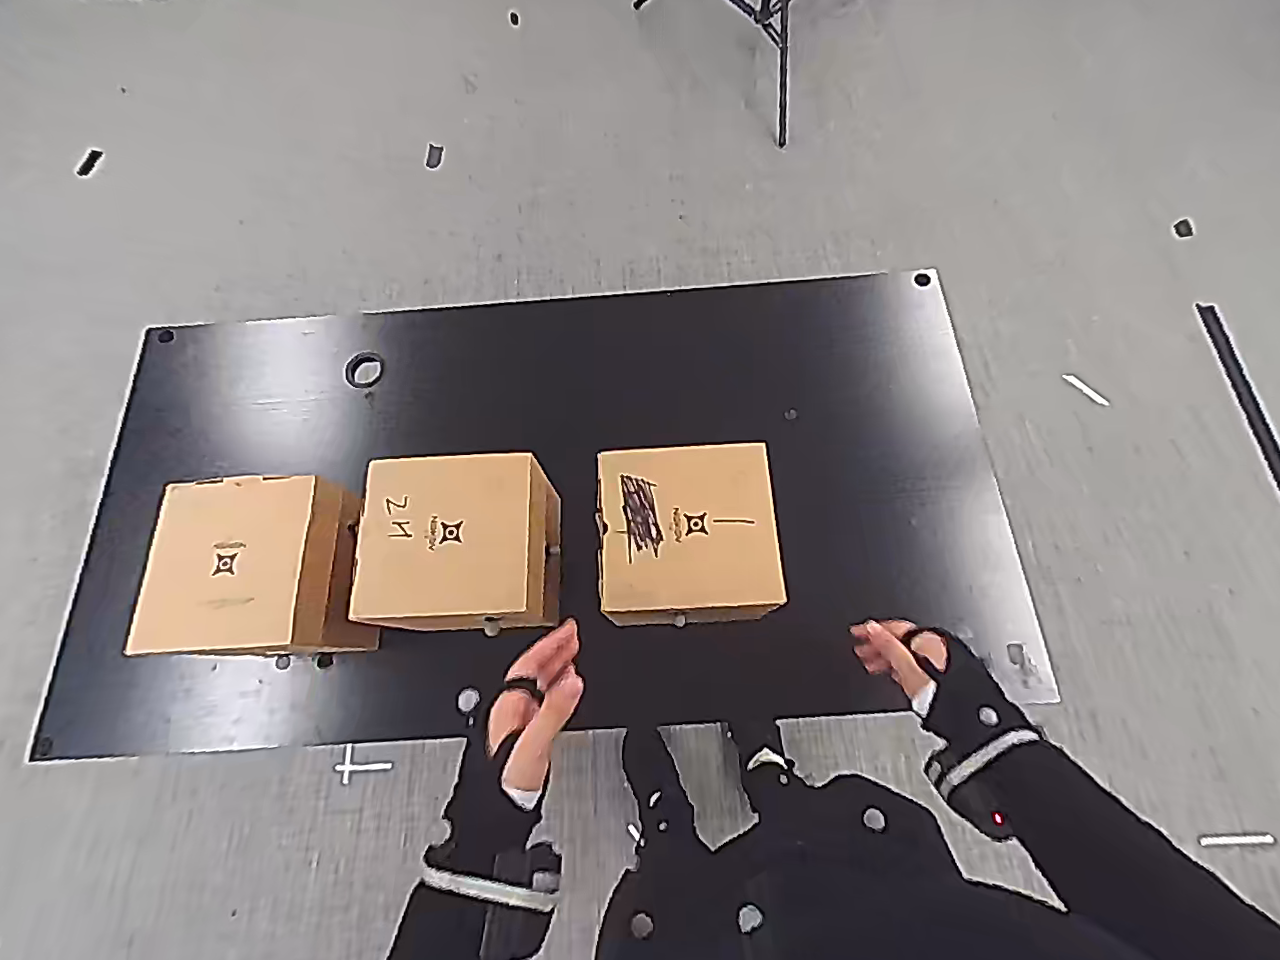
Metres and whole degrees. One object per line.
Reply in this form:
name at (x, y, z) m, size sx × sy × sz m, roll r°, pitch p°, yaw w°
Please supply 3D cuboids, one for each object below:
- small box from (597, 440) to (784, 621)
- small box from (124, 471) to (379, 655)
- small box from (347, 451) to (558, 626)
small box at (0.049, 0.065, 0.604) m, size 0.179 × 0.176 × 0.168 m, roll -3°, pitch 71°, yaw 1°
small box at (-0.410, 0.103, 0.614) m, size 0.168 × 0.176 × 0.179 m, roll -4°, pitch 72°, yaw 3°
small box at (-0.191, 0.074, 0.612) m, size 0.179 × 0.176 × 0.168 m, roll -3°, pitch 71°, yaw 2°
